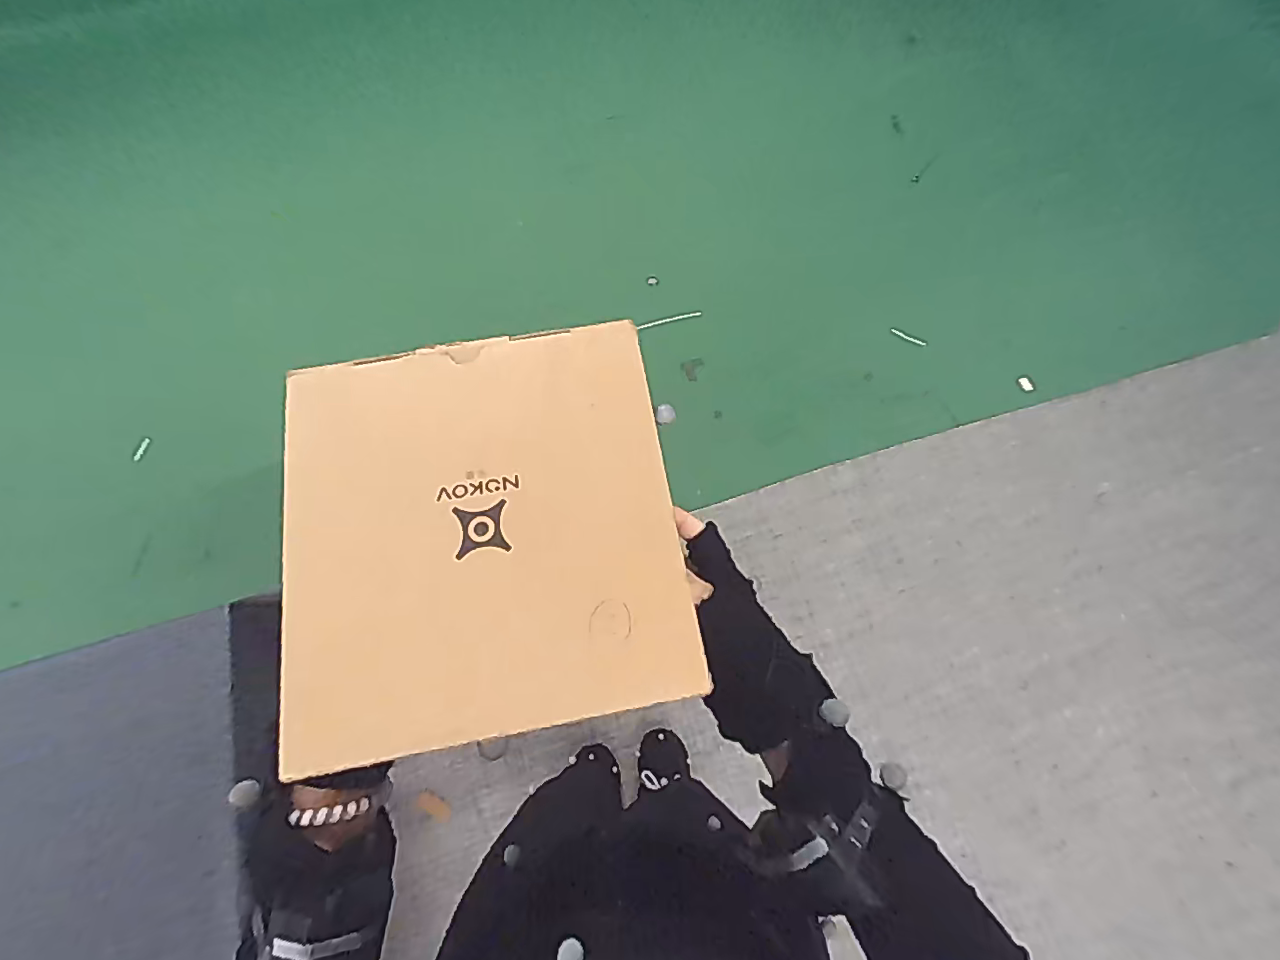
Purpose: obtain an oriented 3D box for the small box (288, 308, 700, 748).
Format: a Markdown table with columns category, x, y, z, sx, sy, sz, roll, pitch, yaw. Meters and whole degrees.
| category | x | y | z | sx | sy | sz | roll | pitch | yaw |
| --- | --- | --- | --- | --- | --- | --- | --- | --- | --- |
| small box | -0.068 | 0.034 | 0.313 | 0.168 | 0.176 | 0.179 | -10 | 71 | -4 |
